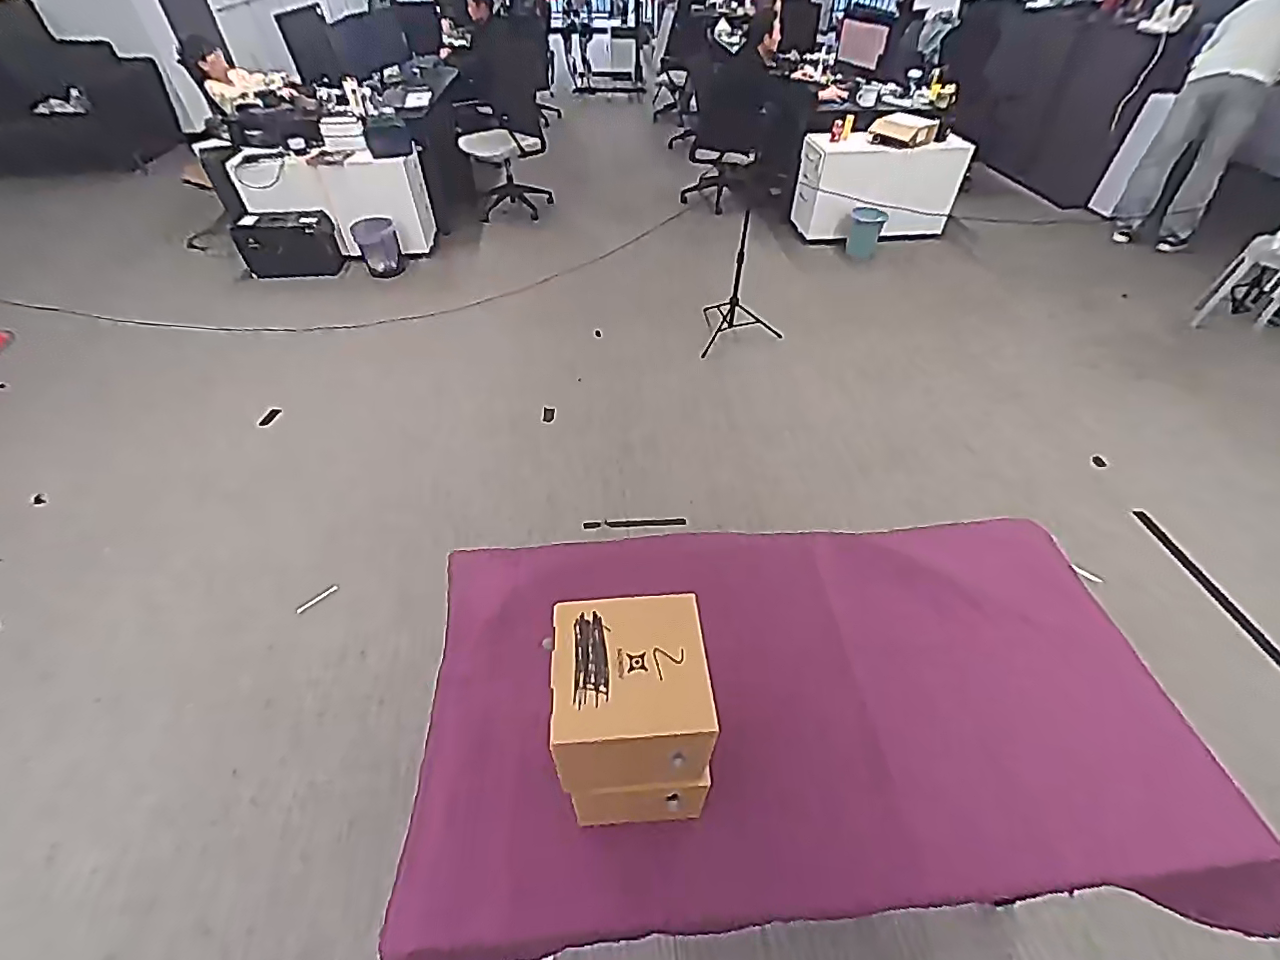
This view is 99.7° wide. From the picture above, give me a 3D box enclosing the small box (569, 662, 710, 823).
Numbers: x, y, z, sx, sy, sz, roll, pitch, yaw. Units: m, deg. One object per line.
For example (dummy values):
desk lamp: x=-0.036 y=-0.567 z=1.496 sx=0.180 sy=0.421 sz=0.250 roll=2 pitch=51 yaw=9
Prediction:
small box: x=-0.006 y=0.376 z=0.774 sx=0.179 sy=0.176 sz=0.168 roll=-2 pitch=46 yaw=-3
